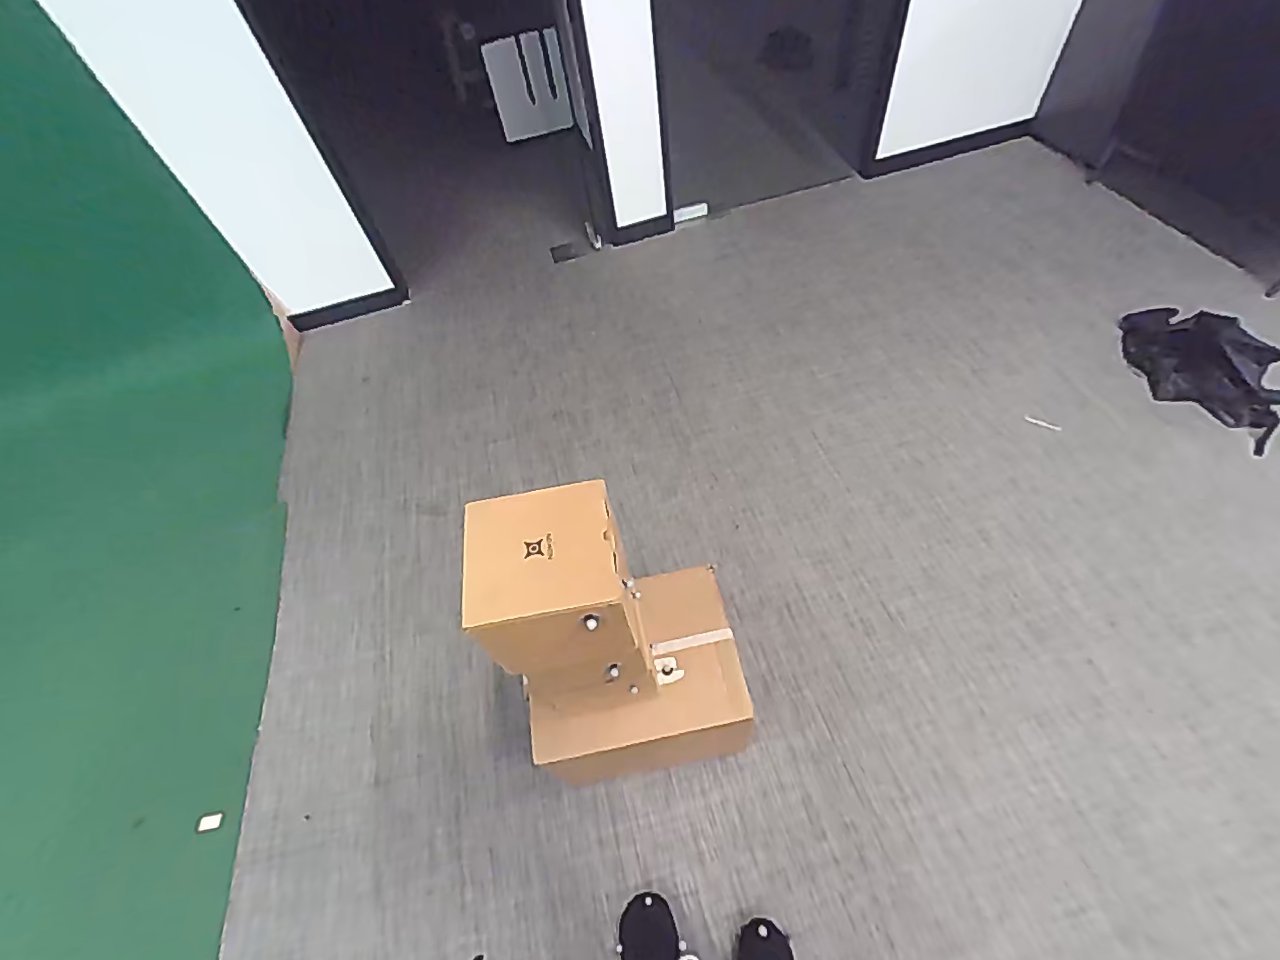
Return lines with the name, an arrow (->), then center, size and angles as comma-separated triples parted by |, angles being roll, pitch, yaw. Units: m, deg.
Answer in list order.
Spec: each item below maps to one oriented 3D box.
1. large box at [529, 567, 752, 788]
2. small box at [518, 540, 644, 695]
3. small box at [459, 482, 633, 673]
large box -> -0.008, 0.430, 1.161 | 0.408, 0.320, 0.320 | -12, 55, -2
small box -> -0.092, 0.213, 0.824 | 0.168, 0.176, 0.179 | -12, 53, -3
small box -> -0.112, 0.129, 0.685 | 0.179, 0.176, 0.168 | -10, 53, -2
